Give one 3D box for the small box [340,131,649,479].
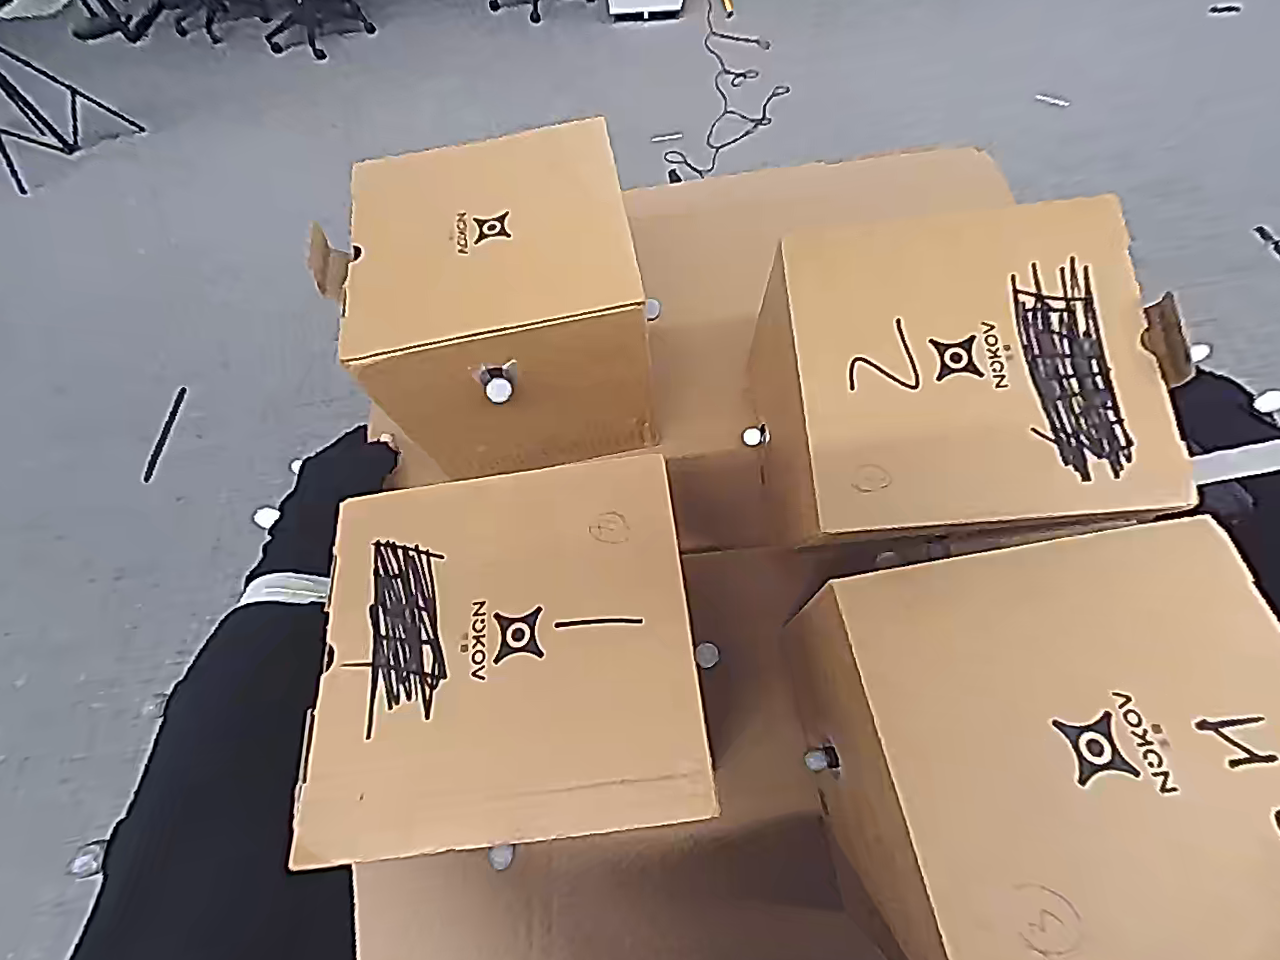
[{"bbox_3d":[-0.091,-0.118,0.411,0.179,0.176,0.168,-11,65,1],"label":"small box"}]
